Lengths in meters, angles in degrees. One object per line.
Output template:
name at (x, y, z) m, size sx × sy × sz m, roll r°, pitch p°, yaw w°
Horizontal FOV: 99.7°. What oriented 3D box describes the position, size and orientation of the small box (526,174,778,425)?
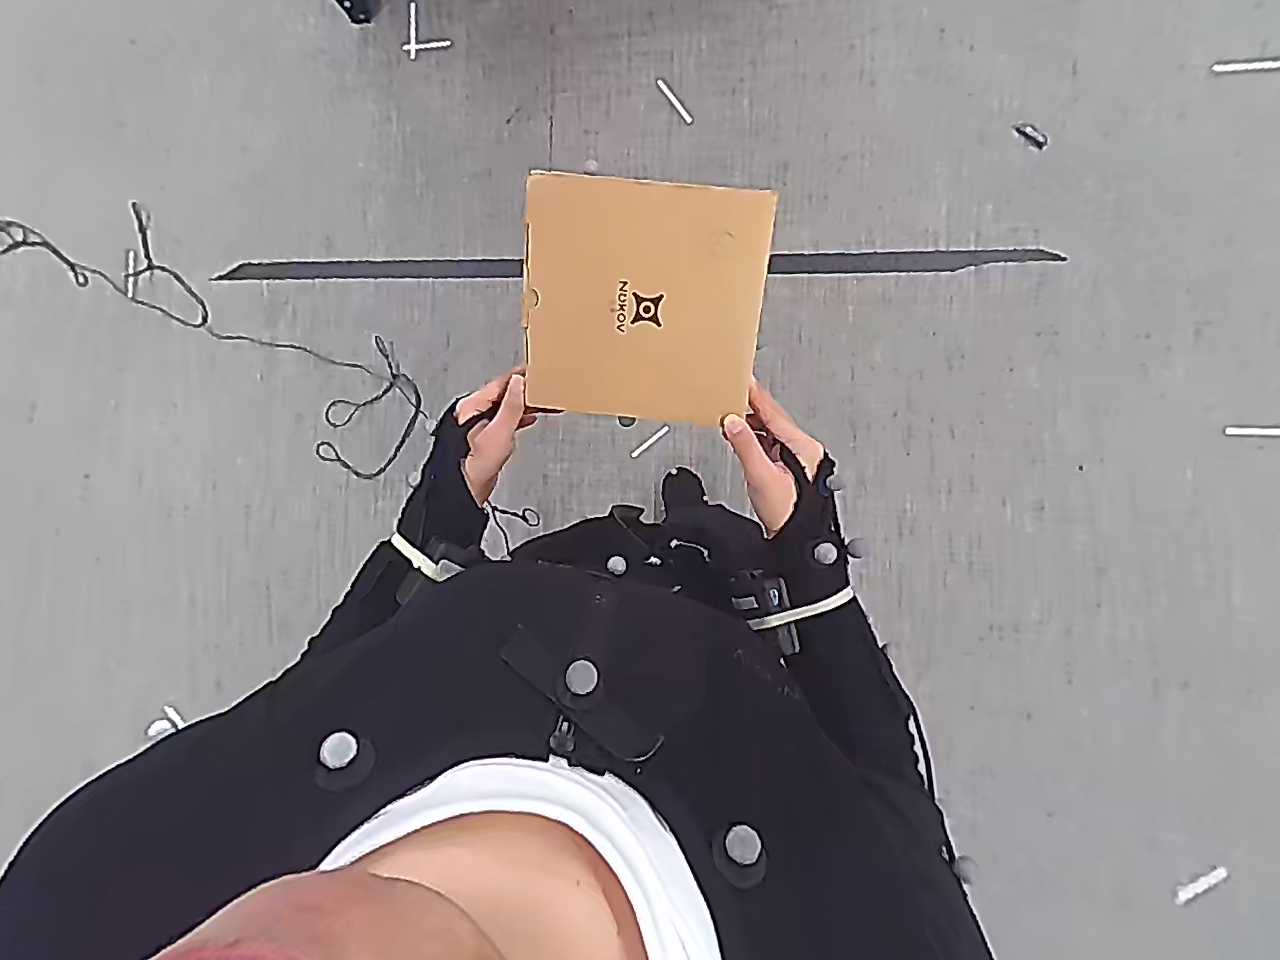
small box at (0.009, -0.155, 0.473) m, size 0.179 × 0.176 × 0.168 m, roll 7°, pitch 109°, yaw 5°
